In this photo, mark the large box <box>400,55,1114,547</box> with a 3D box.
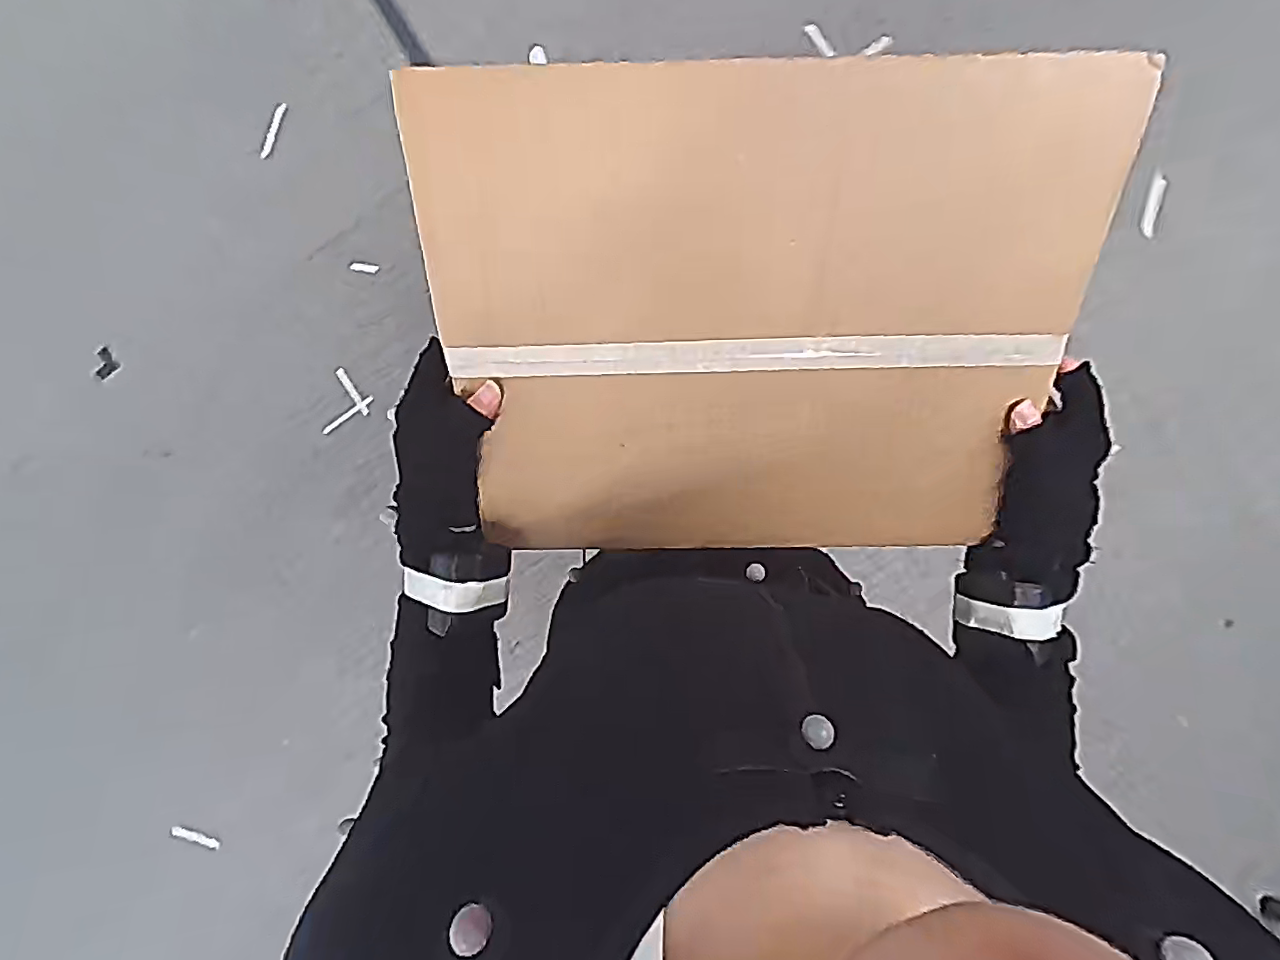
[{"bbox_3d":[0.067,-0.158,0.499,0.408,0.320,0.320,-2,120,1],"label":"large box"}]
